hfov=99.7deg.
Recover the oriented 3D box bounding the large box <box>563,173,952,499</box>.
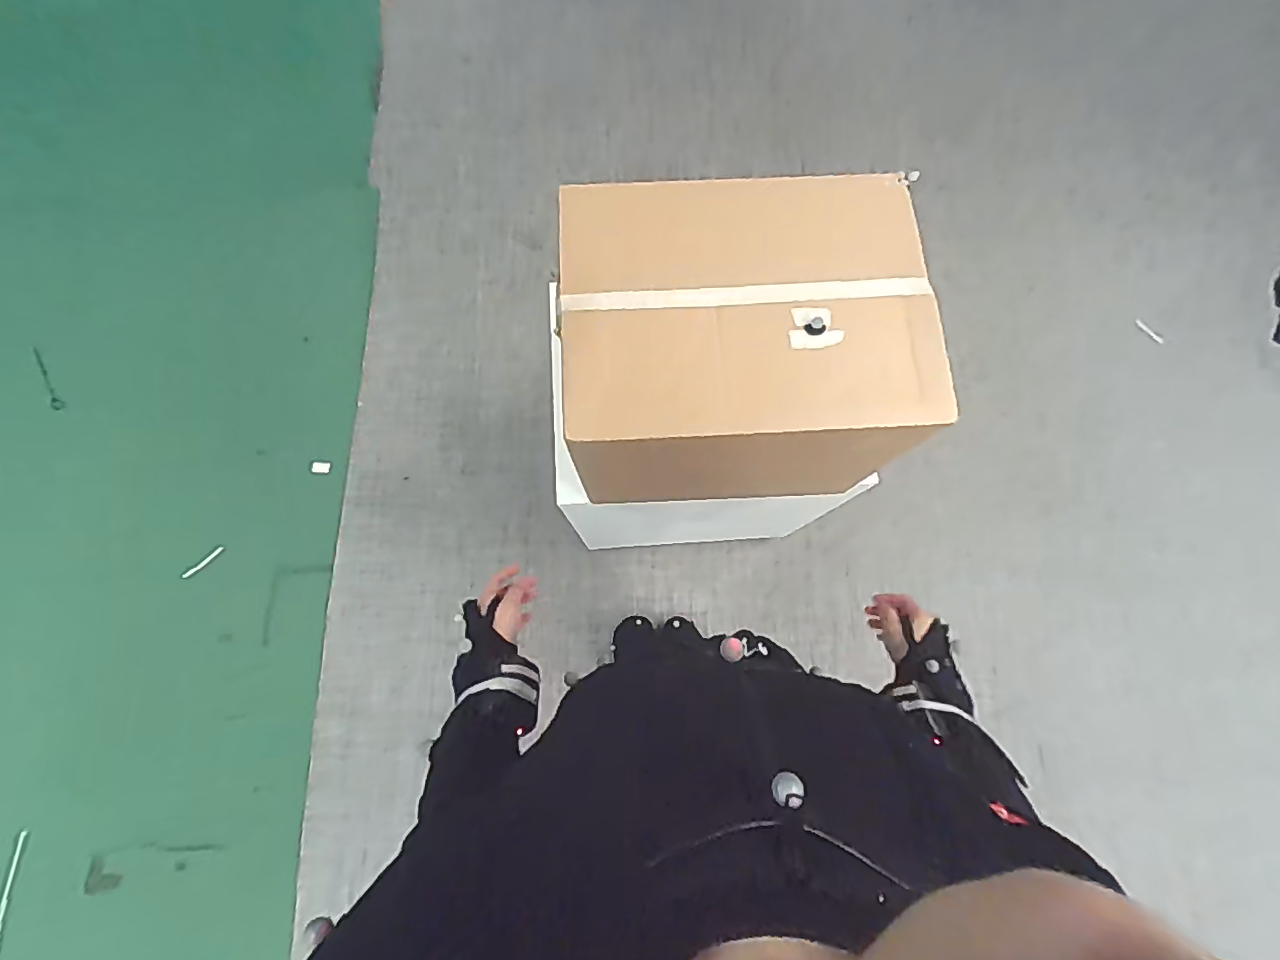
[{"bbox_3d":[0.114,-0.166,0.736,0.408,0.320,0.320,-3,76,-2],"label":"large box"}]
